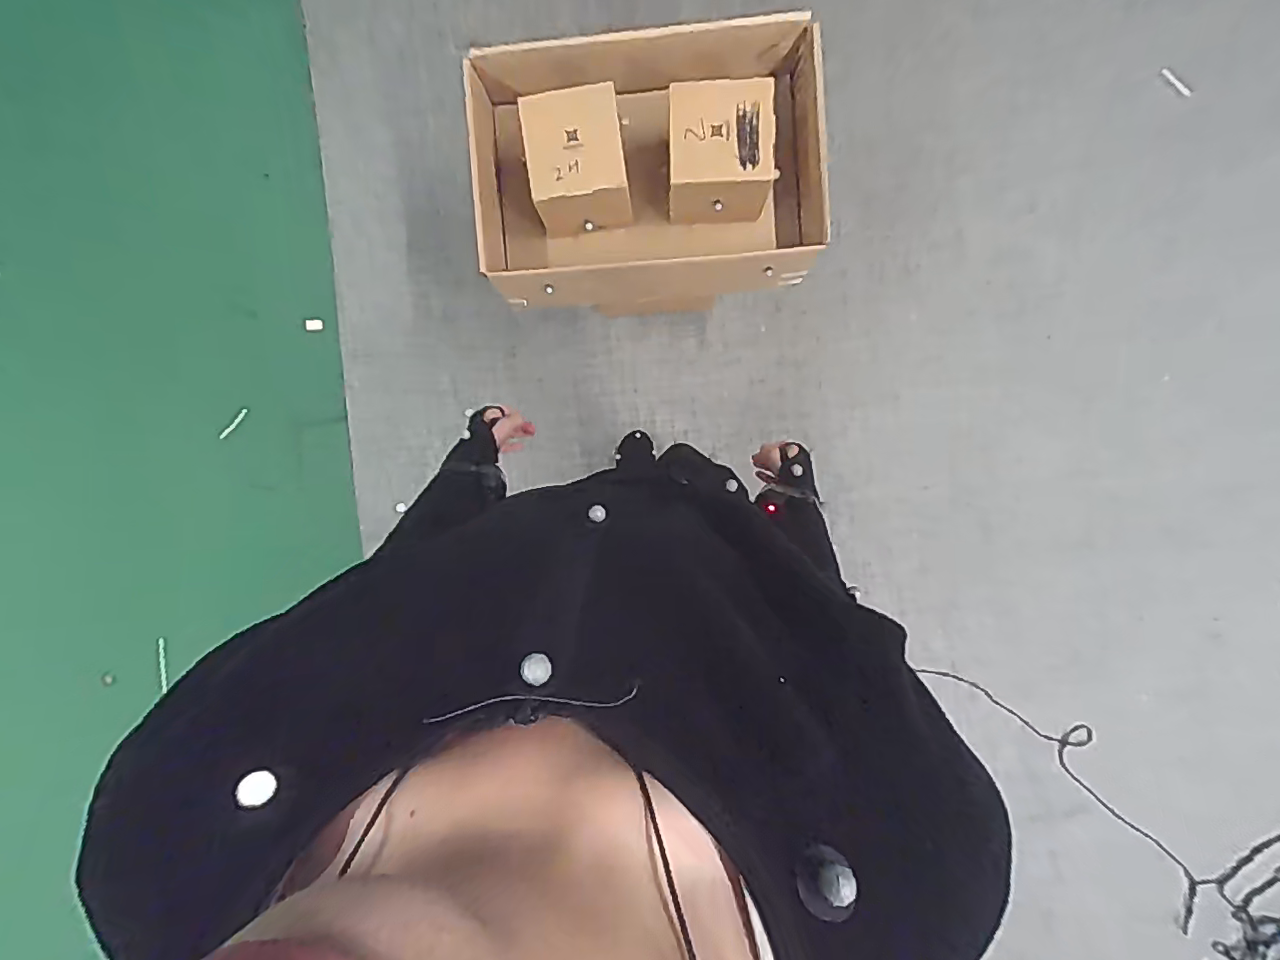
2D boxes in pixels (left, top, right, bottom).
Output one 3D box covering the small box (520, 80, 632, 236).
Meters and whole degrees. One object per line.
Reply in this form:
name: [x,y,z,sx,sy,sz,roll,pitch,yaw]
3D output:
small box: [-0.109,-0.574,0.984,0.168,0.176,0.179,-8,93,3]
